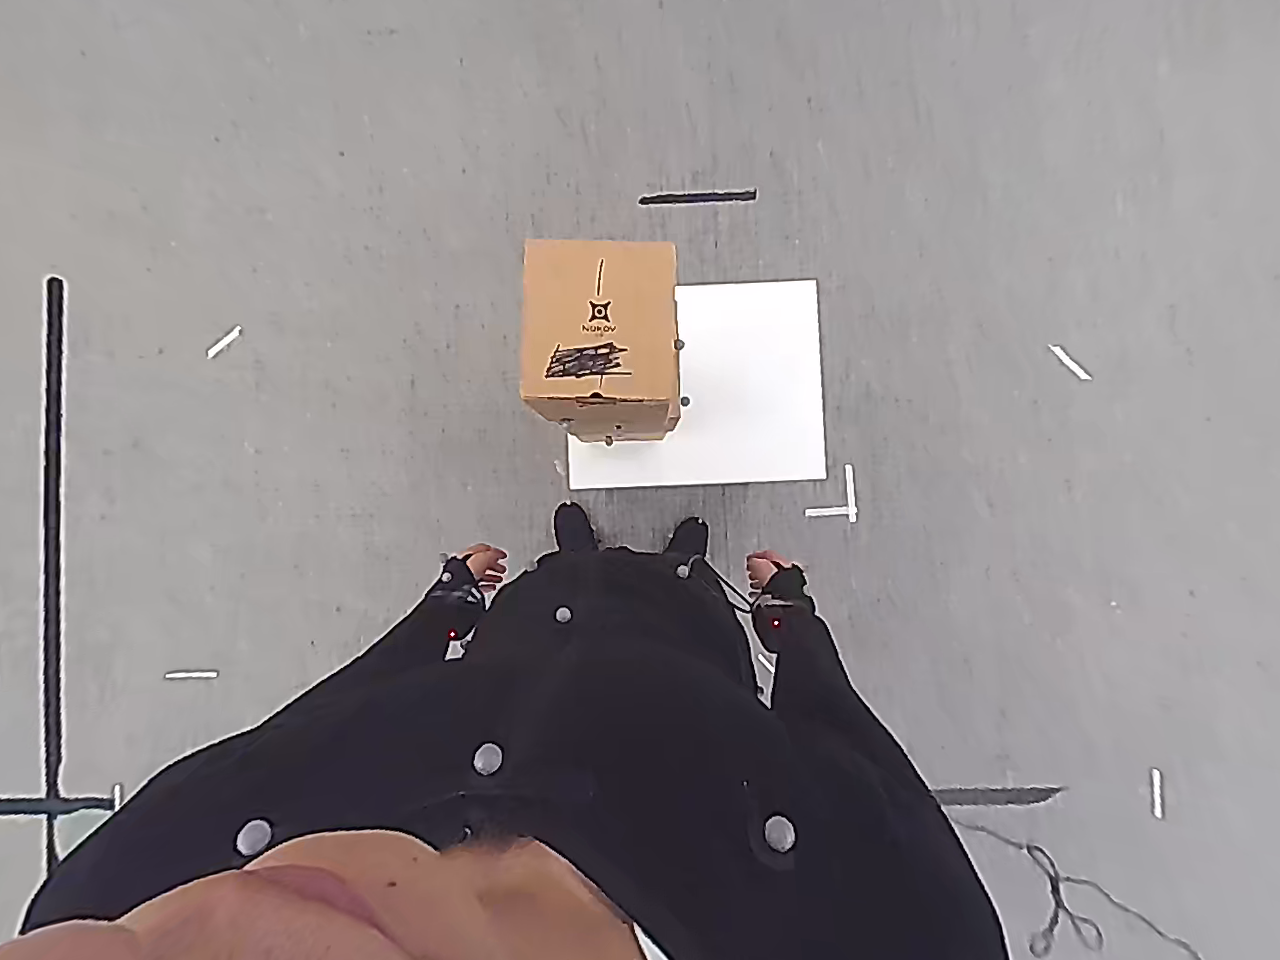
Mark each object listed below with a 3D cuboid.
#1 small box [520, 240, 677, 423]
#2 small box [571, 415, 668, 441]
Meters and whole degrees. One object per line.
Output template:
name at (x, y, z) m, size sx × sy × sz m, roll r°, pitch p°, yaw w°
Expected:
small box at (-0.043, -0.166, 0.657) m, size 0.168 × 0.176 × 0.179 m, roll 2°, pitch 88°, yaw 0°
small box at (-0.035, -0.164, 0.986) m, size 0.168 × 0.176 × 0.179 m, roll -2°, pitch 88°, yaw -1°
